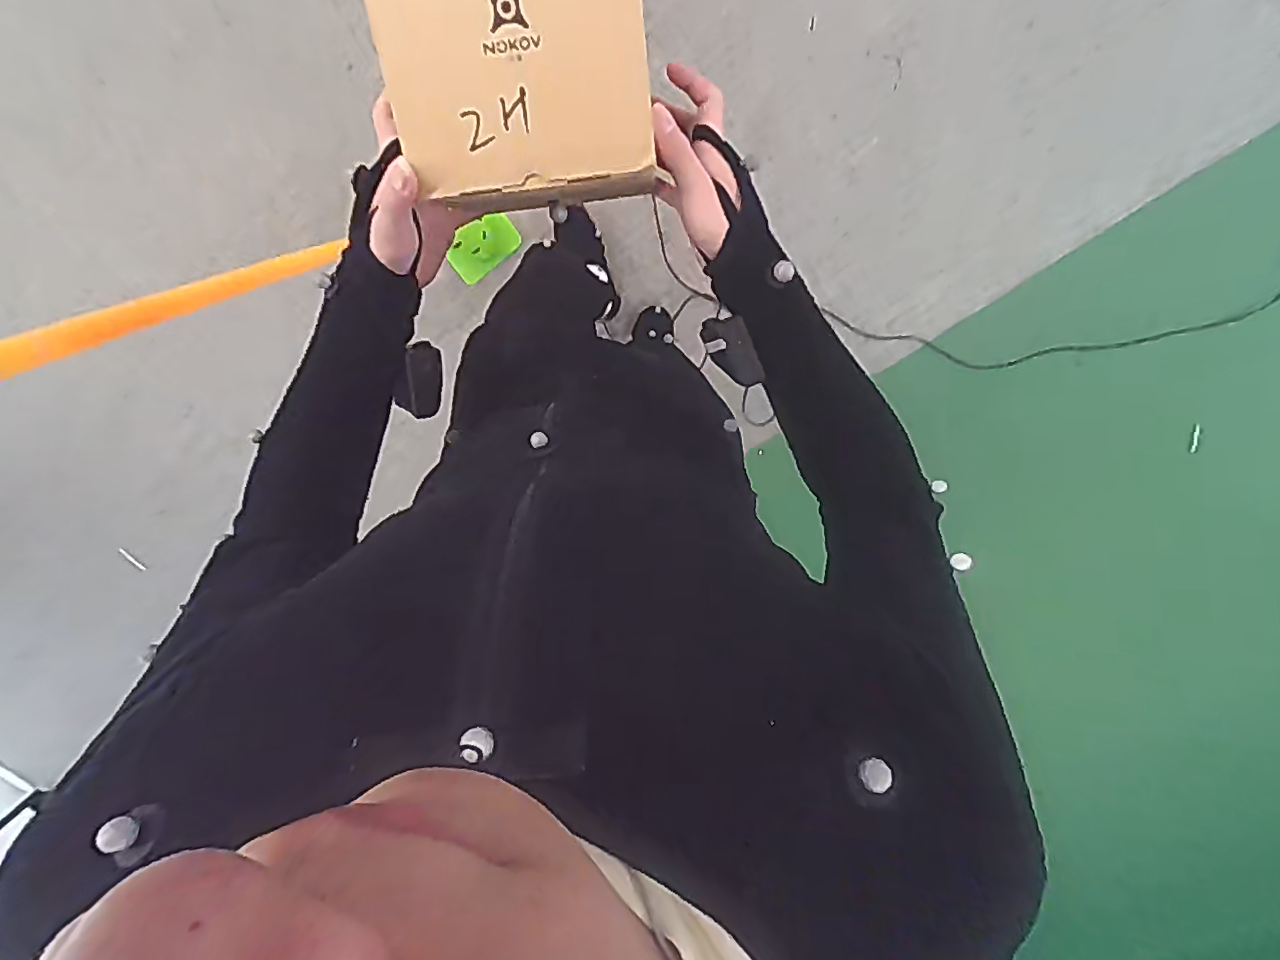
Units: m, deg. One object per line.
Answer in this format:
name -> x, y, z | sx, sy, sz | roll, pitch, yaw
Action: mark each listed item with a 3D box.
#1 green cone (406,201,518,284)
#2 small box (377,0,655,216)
green cone -> -0.456, -0.586, 1.270 | 0.202, 0.368, 0.200 | -33, 108, 14
small box -> -0.078, -0.308, 0.410 | 0.168, 0.176, 0.179 | -5, 114, 2
